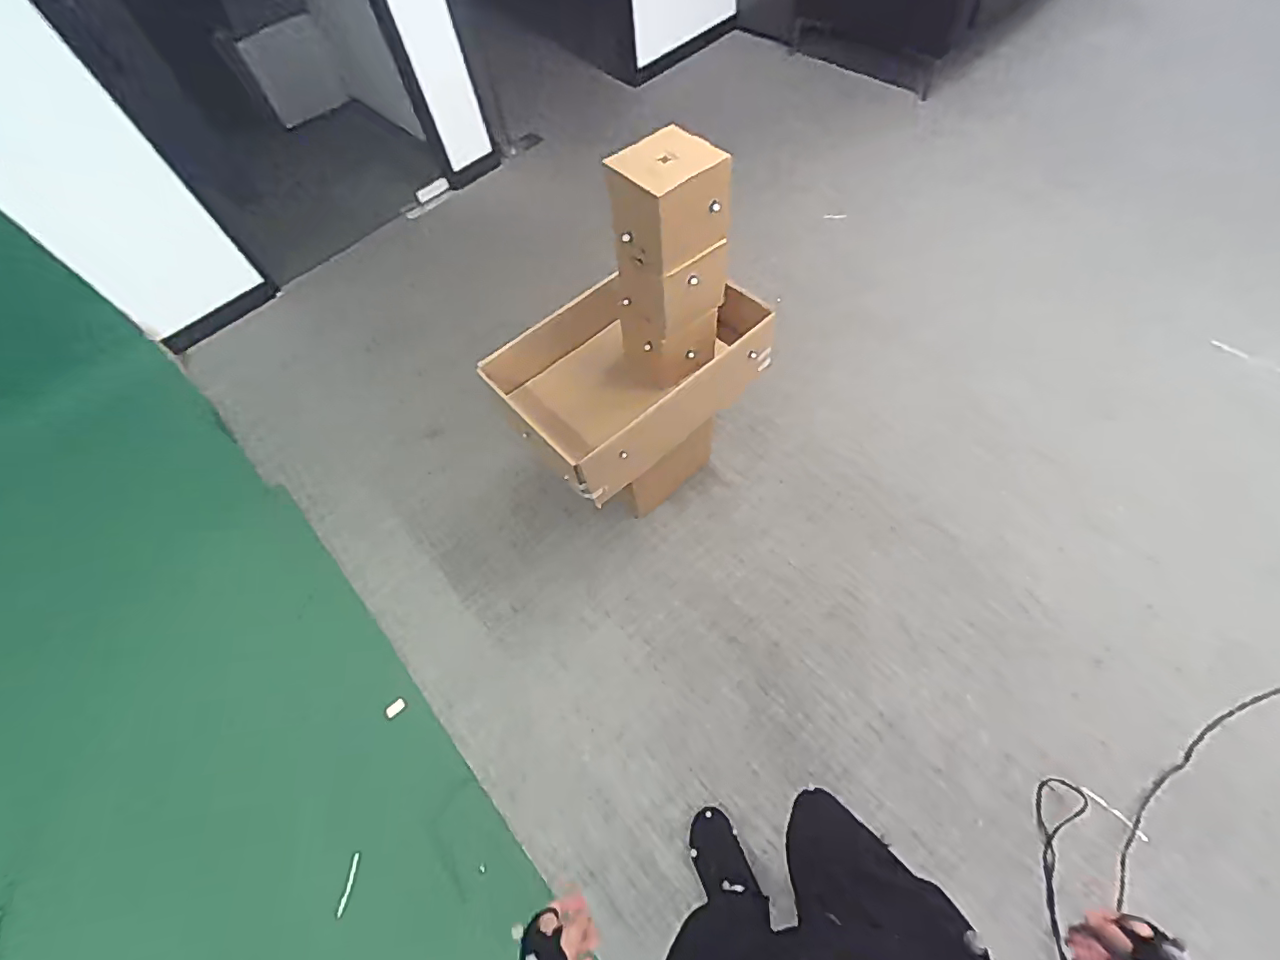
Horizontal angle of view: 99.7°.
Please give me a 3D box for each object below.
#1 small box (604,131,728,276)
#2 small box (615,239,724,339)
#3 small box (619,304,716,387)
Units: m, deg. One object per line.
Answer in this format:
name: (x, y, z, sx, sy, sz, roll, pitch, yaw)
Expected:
small box: (0.052, -0.540, 1.065, 0.179, 0.176, 0.168, -37, 62, -15)
small box: (0.069, -0.448, 1.198, 0.179, 0.176, 0.168, -36, 62, -15)
small box: (0.072, -0.356, 1.335, 0.168, 0.176, 0.179, -35, 61, -14)
